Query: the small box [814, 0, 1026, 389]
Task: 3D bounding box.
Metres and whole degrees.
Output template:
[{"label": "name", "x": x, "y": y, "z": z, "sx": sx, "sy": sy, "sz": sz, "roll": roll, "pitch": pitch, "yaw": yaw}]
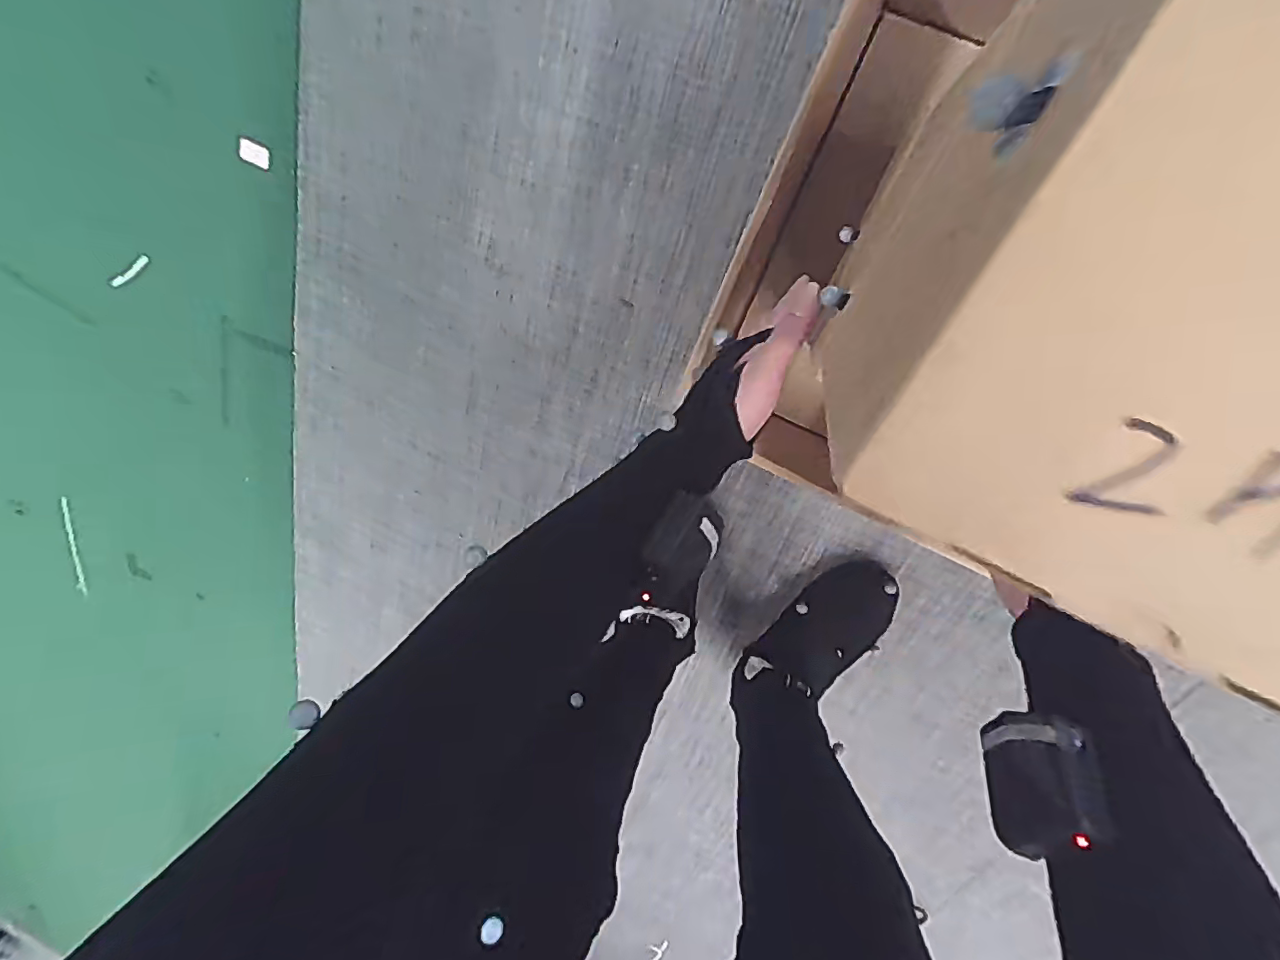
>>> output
[{"label": "small box", "x": 0.214, "y": -0.118, "z": 0.315, "sx": 0.168, "sy": 0.176, "sz": 0.179, "roll": 27, "pitch": 117, "yaw": 6}]
